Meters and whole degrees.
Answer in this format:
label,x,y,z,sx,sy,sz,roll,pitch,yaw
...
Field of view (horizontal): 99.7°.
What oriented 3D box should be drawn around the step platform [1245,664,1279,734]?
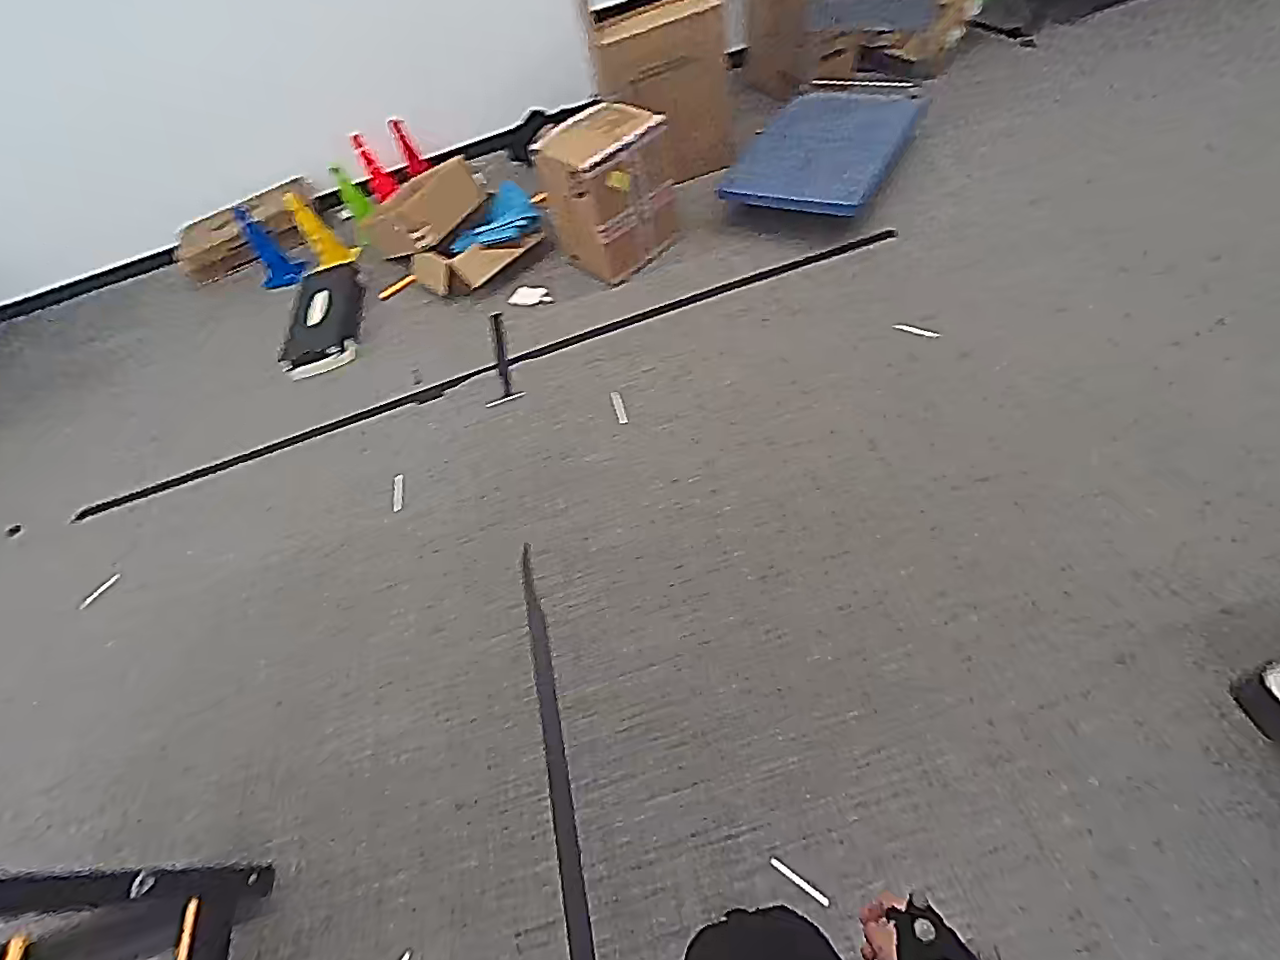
label,x,y,z,sx,sy,sz,roll,pitch,yaw
step platform,1.393,0.570,0.819,0.286,0.204,0.684,-19,53,0
